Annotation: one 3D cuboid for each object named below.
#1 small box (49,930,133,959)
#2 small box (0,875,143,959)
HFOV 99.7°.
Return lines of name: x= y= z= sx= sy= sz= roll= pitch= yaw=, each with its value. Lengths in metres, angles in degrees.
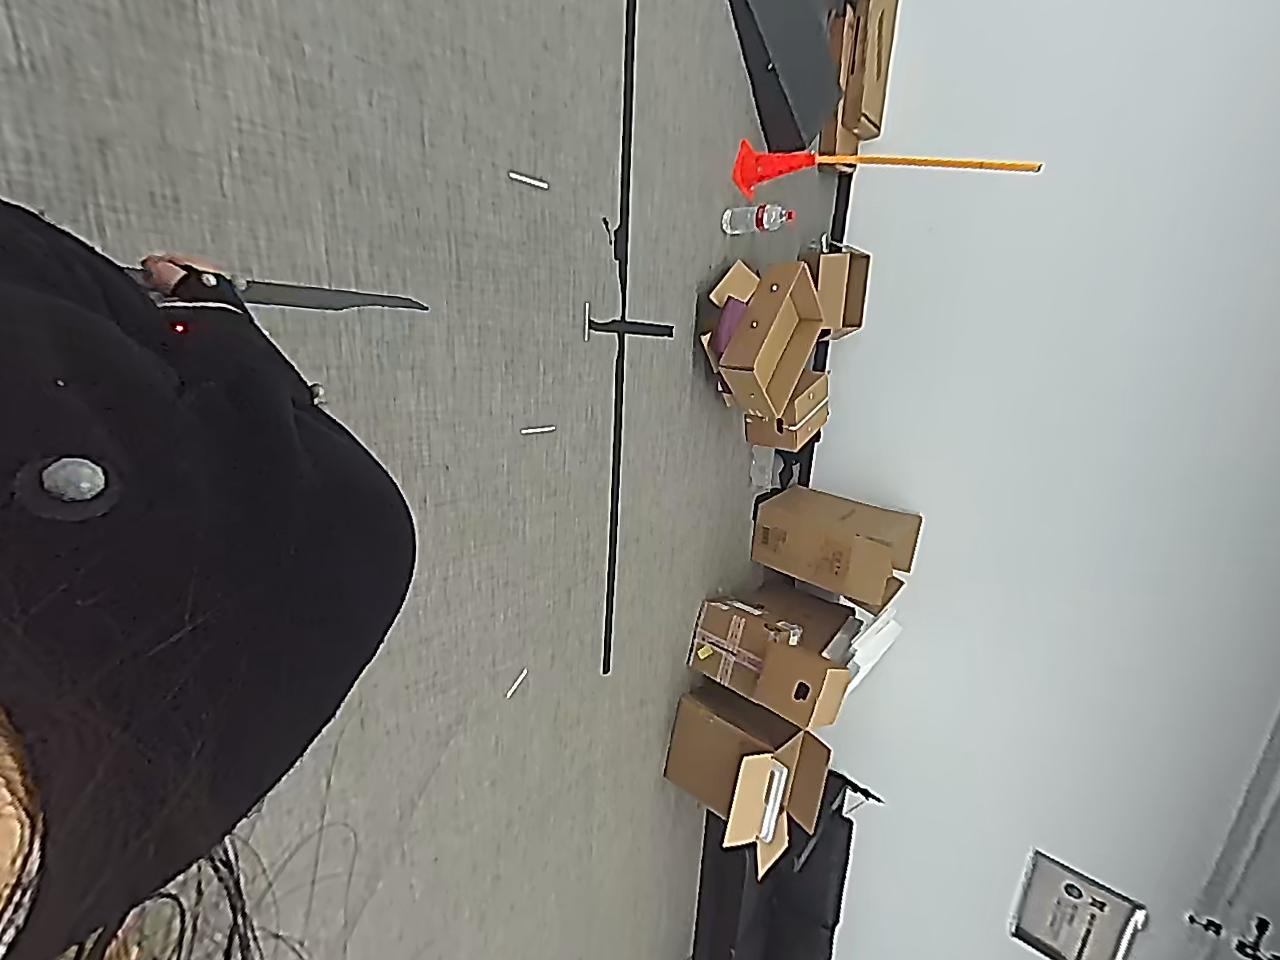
small box: x=-1.089 y=1.033 z=1.041 sx=0.168 sy=0.176 sz=0.179 roll=-32 pitch=126 yaw=-43
small box: x=-1.210 y=0.992 z=1.144 sx=0.168 sy=0.176 sz=0.179 roll=-32 pitch=124 yaw=-42
